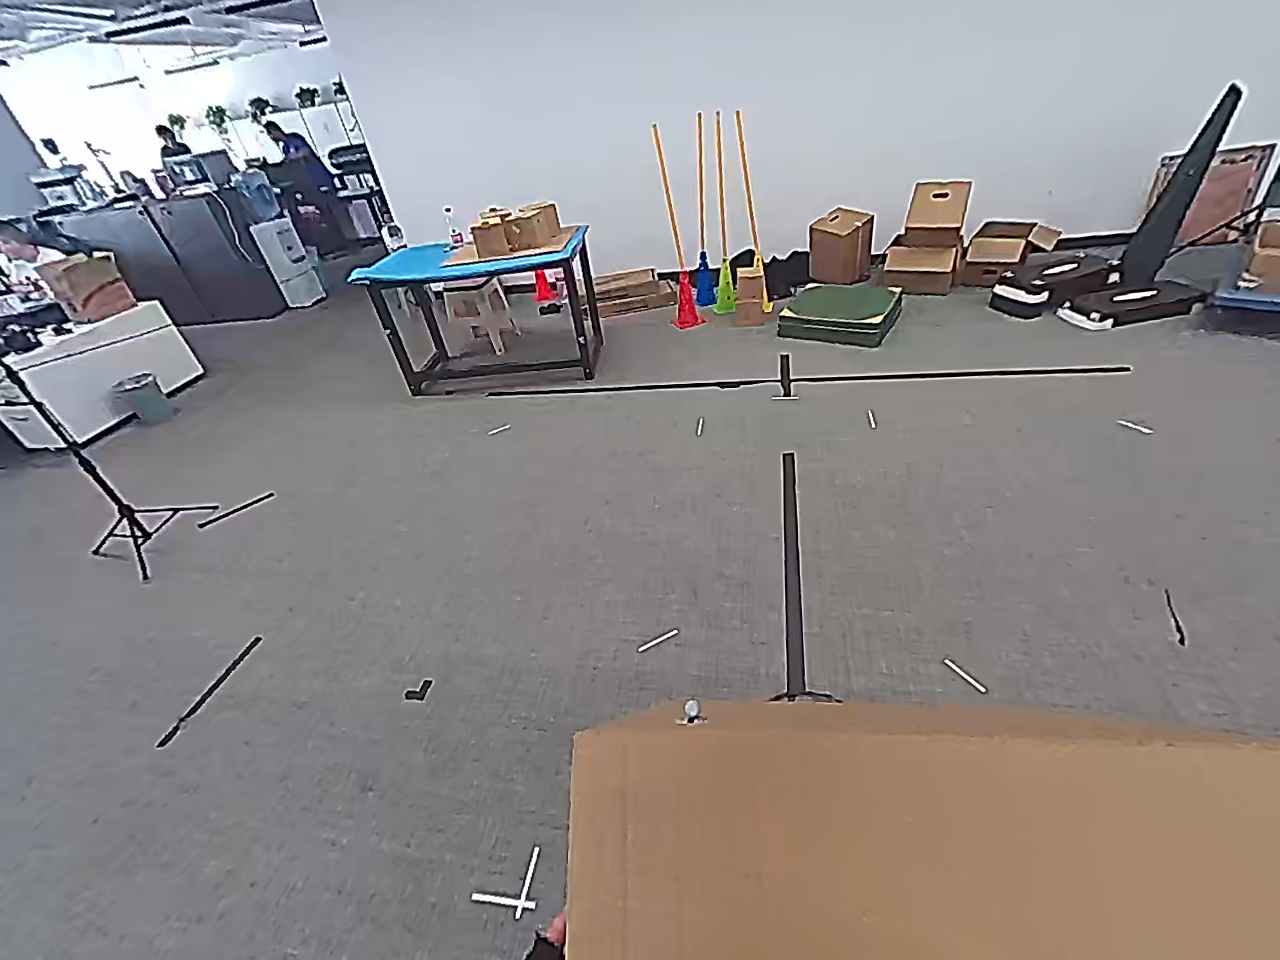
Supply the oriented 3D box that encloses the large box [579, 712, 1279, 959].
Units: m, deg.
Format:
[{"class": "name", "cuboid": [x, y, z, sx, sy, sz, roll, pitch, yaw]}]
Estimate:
[{"class": "large box", "cuboid": [0.189, 0.350, 0.408, 0.408, 0.320, 0.320, -5, 71, 12]}]
